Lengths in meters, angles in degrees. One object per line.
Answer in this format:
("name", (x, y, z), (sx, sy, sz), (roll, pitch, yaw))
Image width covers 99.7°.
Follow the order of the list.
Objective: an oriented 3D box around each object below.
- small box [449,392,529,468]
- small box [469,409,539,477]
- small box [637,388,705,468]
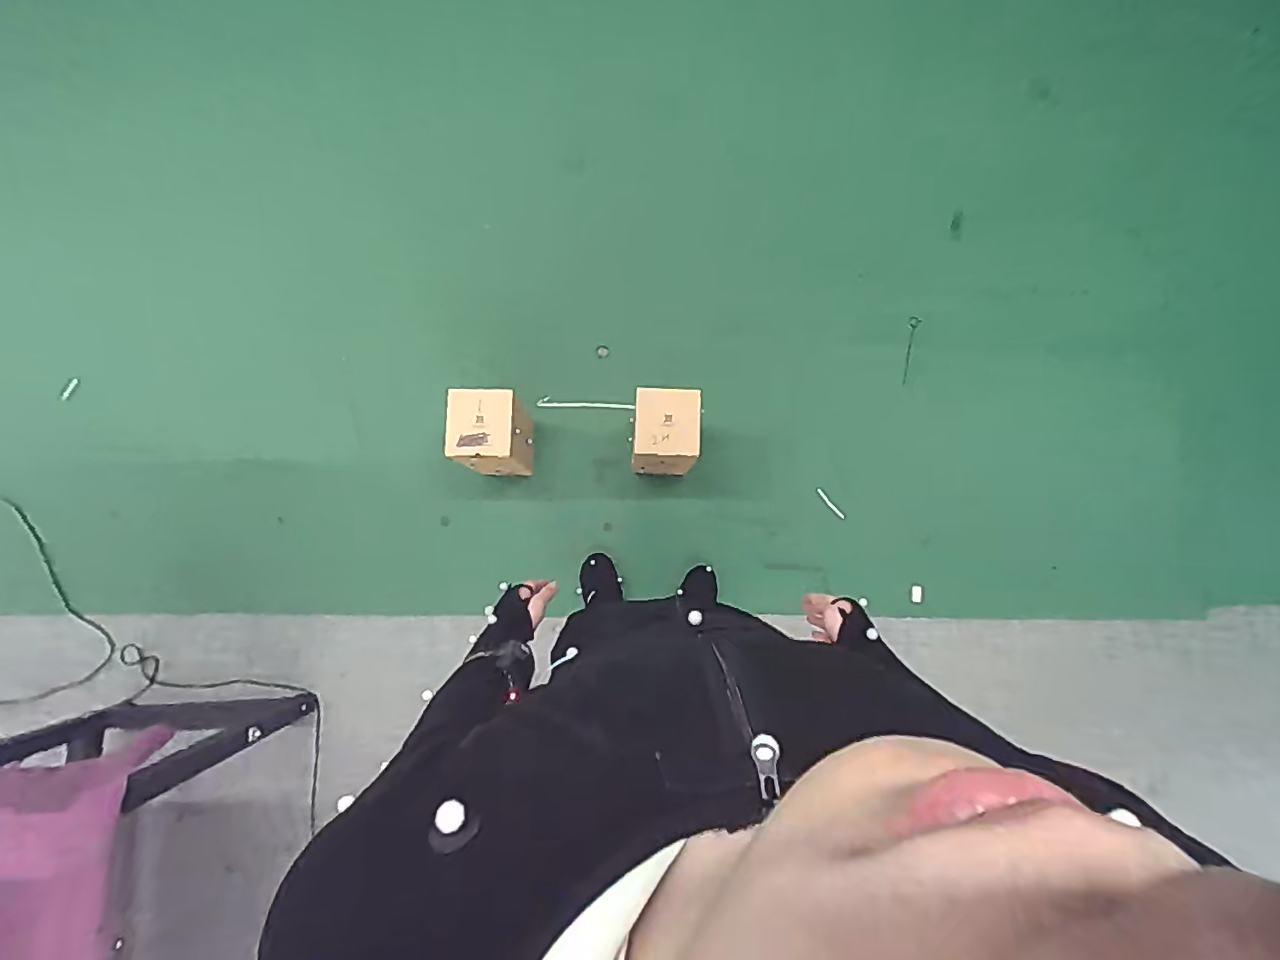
("small box", (-0.395, -0.127, 1.437), (0.168, 0.176, 0.179), (1, 83, -1))
("small box", (-0.397, -0.106, 1.600), (0.168, 0.176, 0.179), (1, 83, -1))
("small box", (0.079, -0.134, 1.442), (0.168, 0.176, 0.179), (2, 83, -1))
